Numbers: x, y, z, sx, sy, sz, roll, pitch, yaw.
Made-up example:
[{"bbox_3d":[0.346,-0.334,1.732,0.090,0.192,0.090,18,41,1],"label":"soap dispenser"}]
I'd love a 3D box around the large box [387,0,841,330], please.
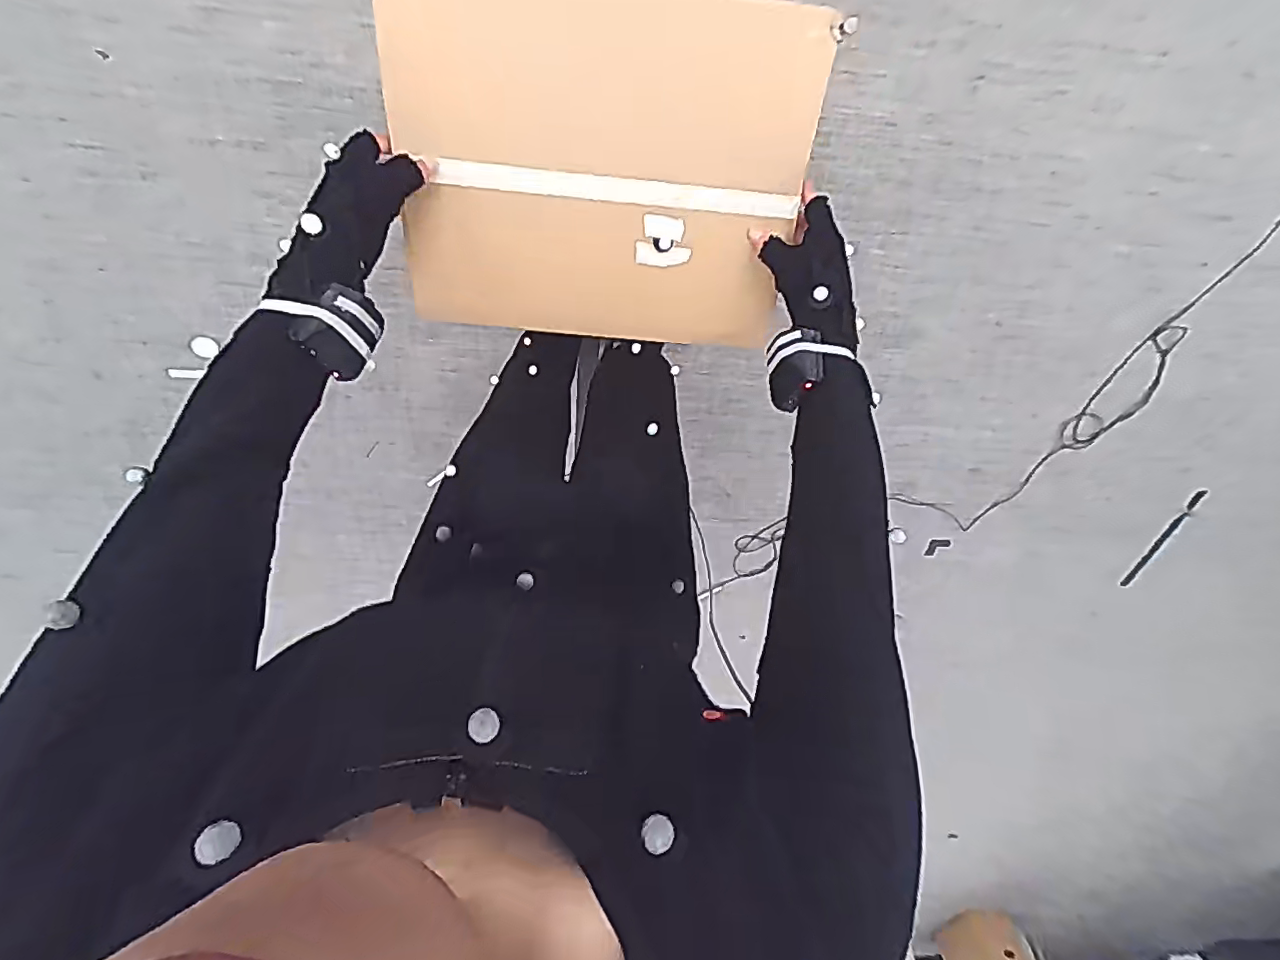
[{"bbox_3d":[-0.038,-0.397,0.668,0.408,0.320,0.320,3,126,-5],"label":"large box"}]
